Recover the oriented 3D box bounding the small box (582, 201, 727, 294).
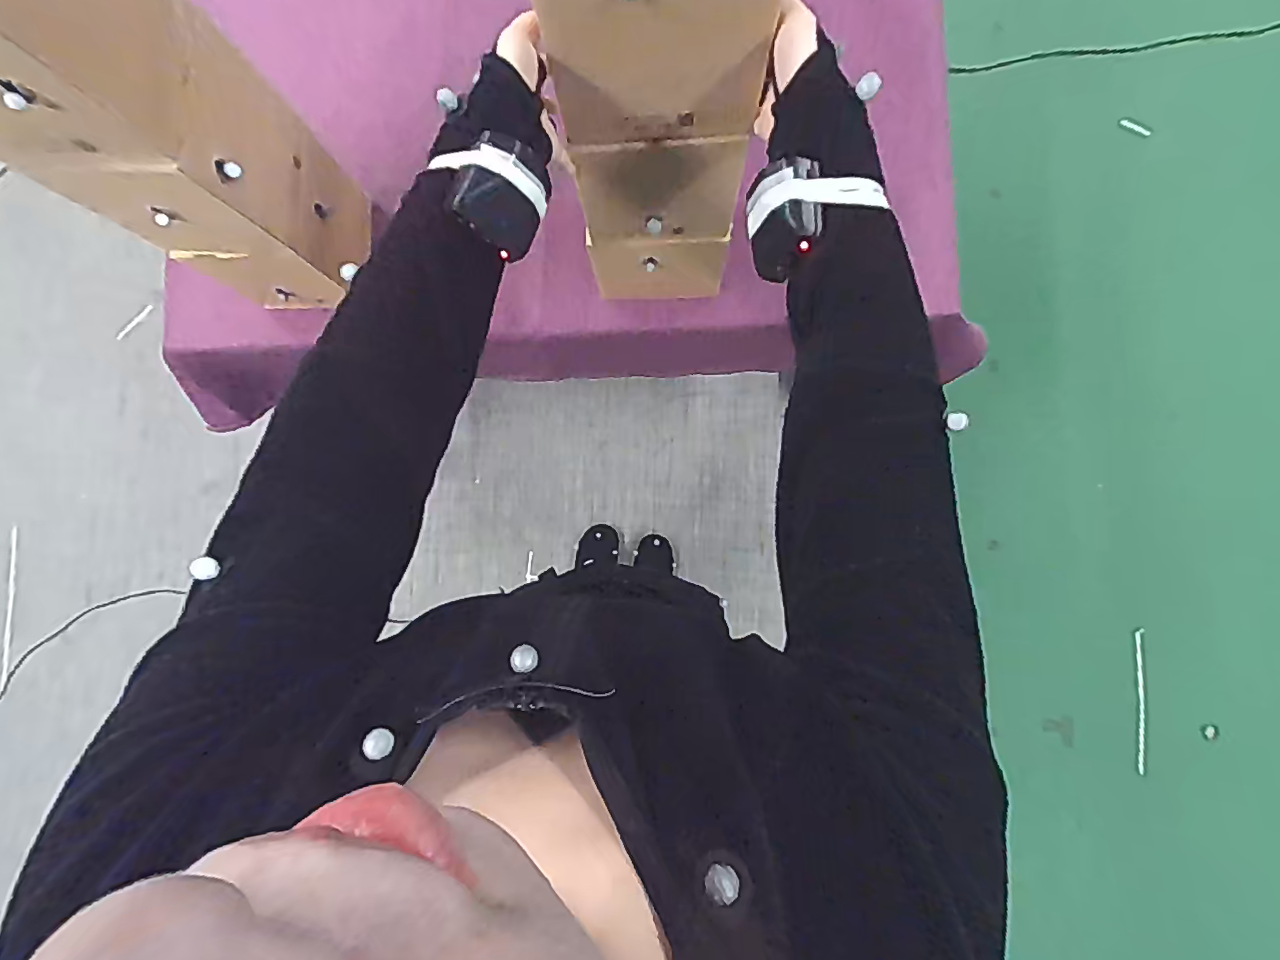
[{"bbox_3d":[0.023,-0.361,0.728,0.179,0.176,0.168,0,87,3],"label":"small box"}]

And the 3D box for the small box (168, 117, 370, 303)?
[{"bbox_3d":[-0.499,-0.363,0.751,0.168,0.176,0.179,0,87,2],"label":"small box"}]

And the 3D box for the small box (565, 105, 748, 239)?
[{"bbox_3d":[0.015,-0.379,0.565,0.168,0.176,0.179,-2,87,3],"label":"small box"}]

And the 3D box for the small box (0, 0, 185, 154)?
[{"bbox_3d":[-0.508,-0.388,0.424,0.168,0.176,0.179,1,86,2],"label":"small box"}]

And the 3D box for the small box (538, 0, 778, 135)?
[{"bbox_3d":[0.010,-0.398,0.401,0.168,0.176,0.179,-2,85,4],"label":"small box"}]
